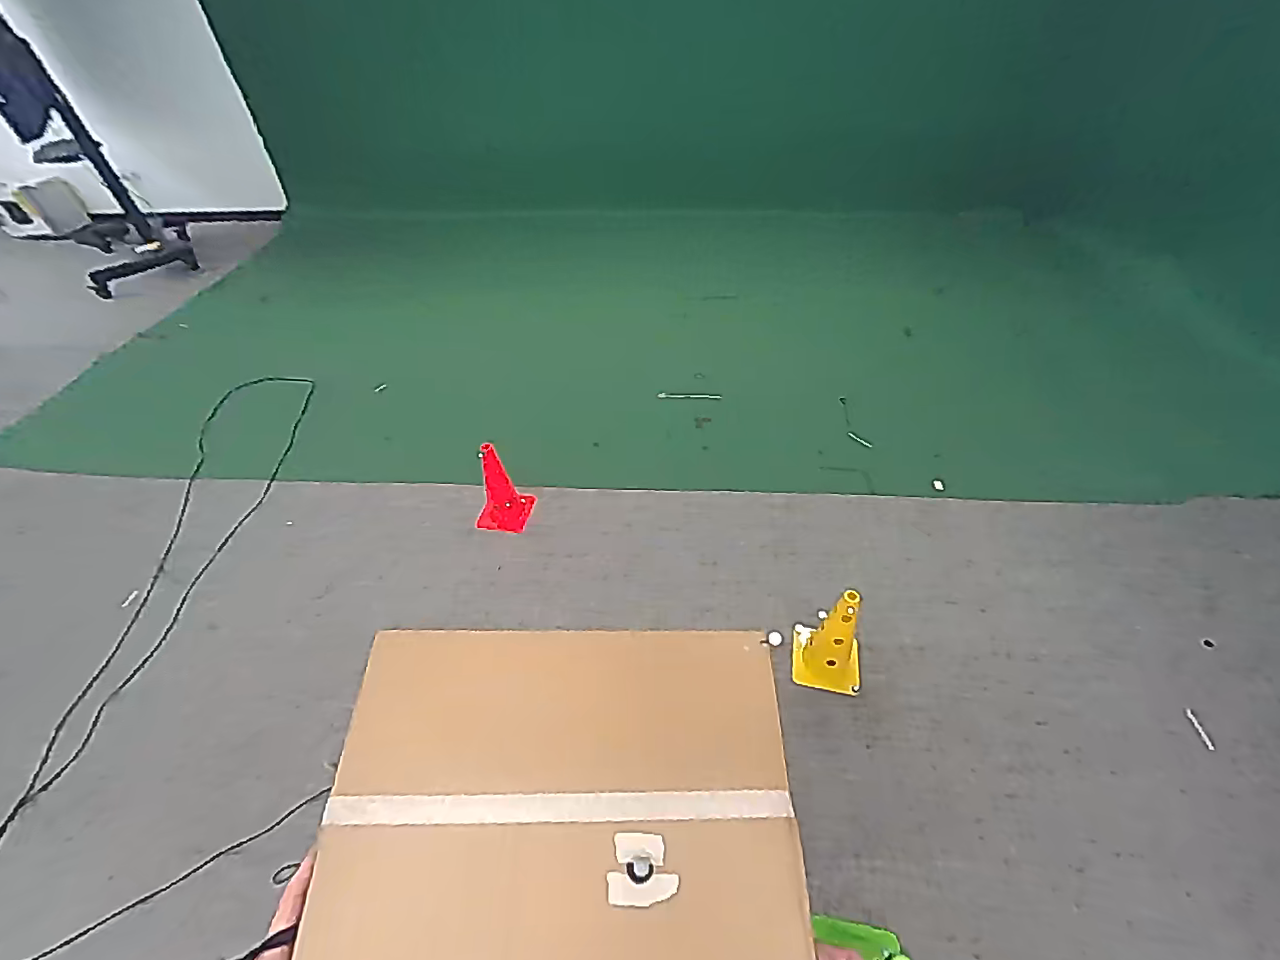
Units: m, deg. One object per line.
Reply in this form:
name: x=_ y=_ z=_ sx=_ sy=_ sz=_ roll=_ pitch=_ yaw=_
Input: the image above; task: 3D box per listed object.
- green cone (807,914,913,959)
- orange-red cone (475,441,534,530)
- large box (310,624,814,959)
green cone: x=0.463 y=0.966 z=1.063 sx=0.200 sy=0.368 sz=0.202 roll=6 pitch=44 yaw=8
orange-red cone: x=-0.554 y=-0.001 z=2.063 sx=0.199 sy=0.360 sz=0.198 roll=6 pitch=45 yaw=10
large box: x=-0.070 y=0.366 z=0.613 sx=0.408 sy=0.320 sz=0.320 roll=1 pitch=57 yaw=-3
